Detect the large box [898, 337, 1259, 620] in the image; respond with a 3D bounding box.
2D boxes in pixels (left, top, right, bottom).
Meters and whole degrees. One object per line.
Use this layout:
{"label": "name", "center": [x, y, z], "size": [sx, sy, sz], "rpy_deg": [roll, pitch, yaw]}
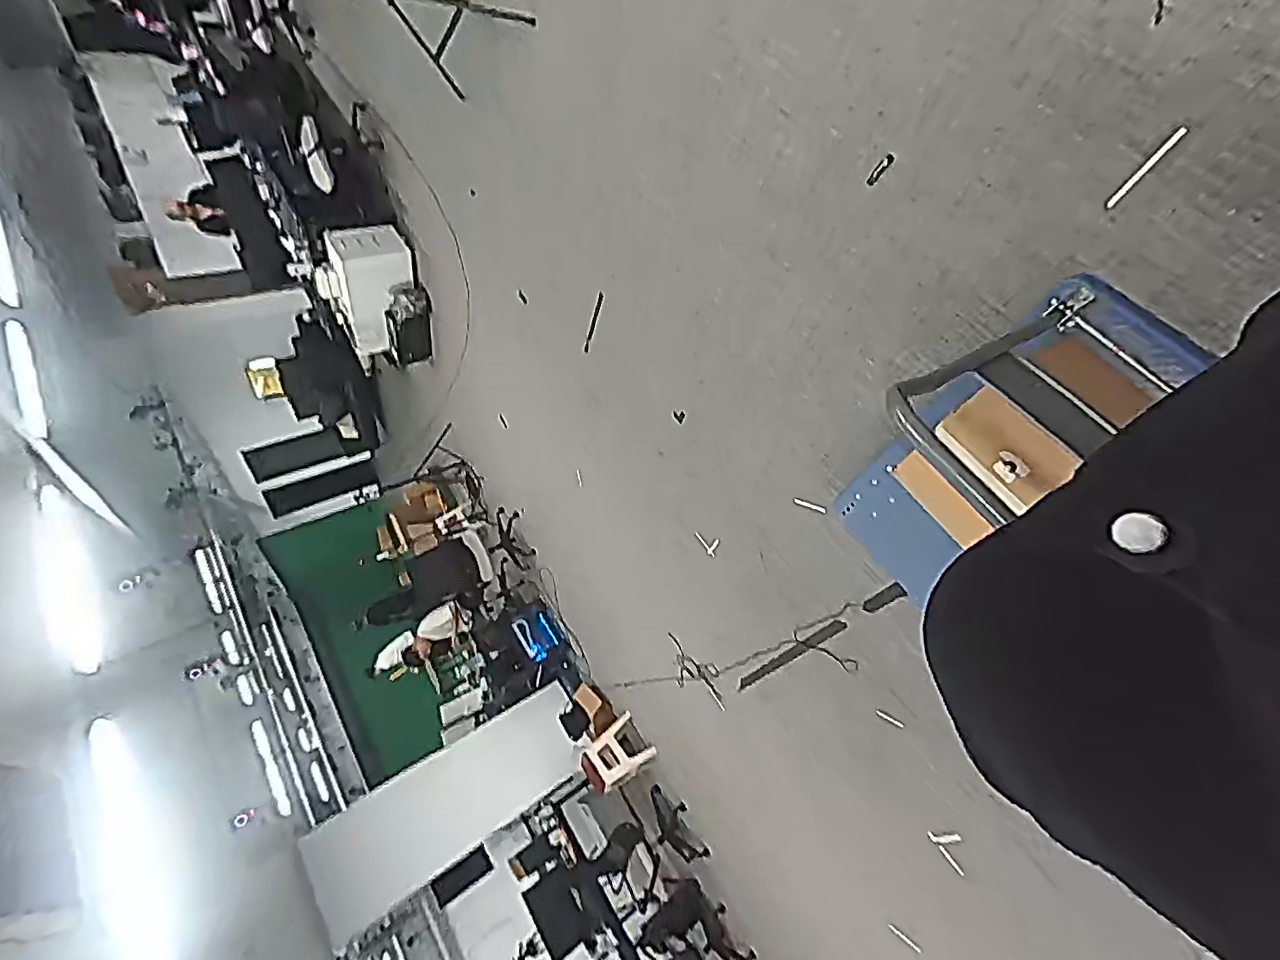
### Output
{"label": "large box", "center": [0.827, -0.010, 1.063], "size": [0.408, 0.320, 0.320], "rpy_deg": [55, 147, 21]}
